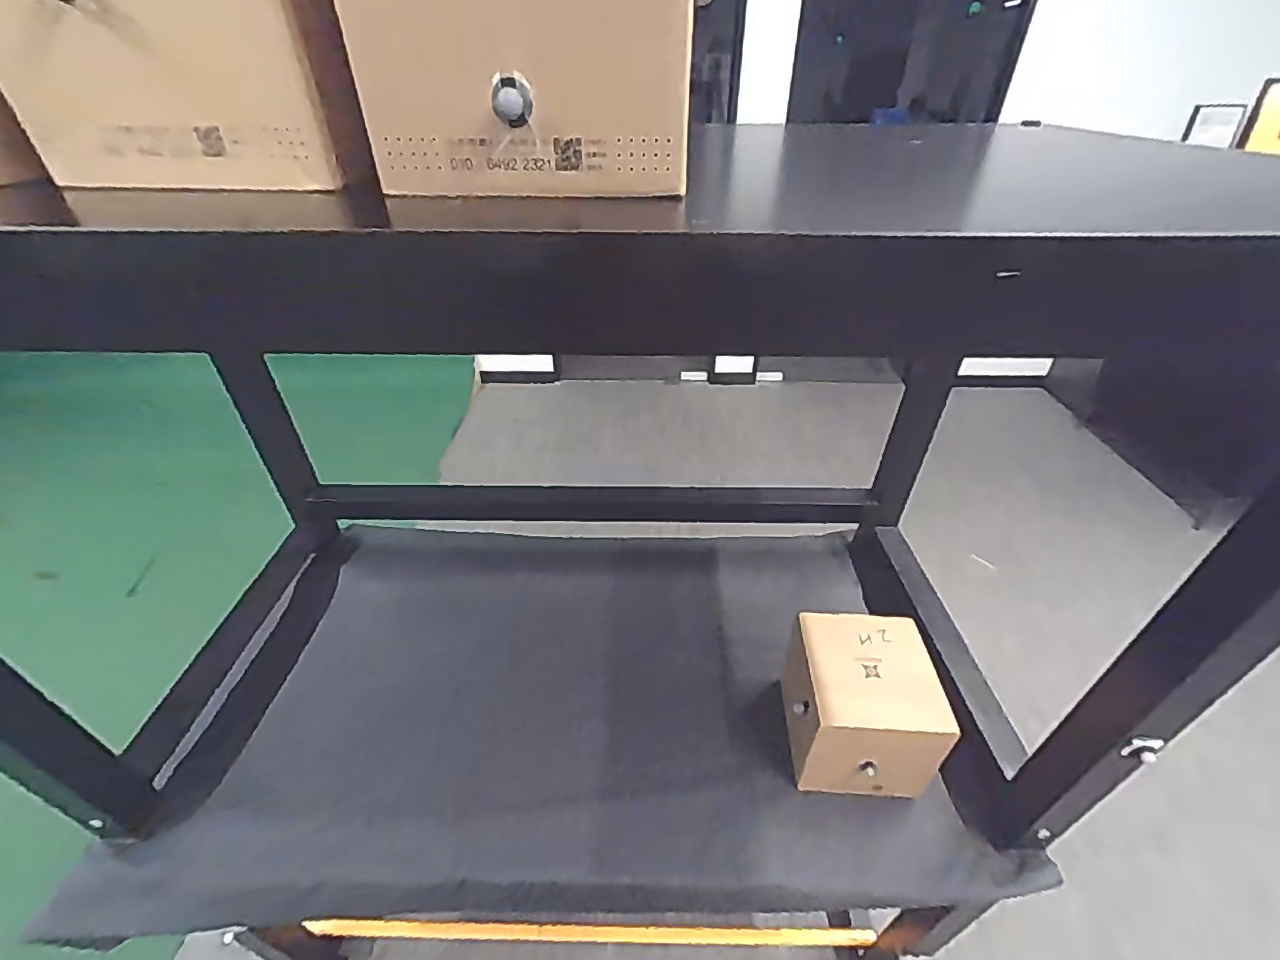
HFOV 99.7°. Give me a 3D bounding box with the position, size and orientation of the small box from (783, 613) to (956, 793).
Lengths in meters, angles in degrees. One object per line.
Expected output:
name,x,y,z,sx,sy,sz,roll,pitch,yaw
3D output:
small box,0.304,0.312,0.760,0.168,0.176,0.179,3,36,3

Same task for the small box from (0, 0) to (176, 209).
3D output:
small box,-0.444,-0.275,0.331,0.168,0.176,0.179,1,38,2
